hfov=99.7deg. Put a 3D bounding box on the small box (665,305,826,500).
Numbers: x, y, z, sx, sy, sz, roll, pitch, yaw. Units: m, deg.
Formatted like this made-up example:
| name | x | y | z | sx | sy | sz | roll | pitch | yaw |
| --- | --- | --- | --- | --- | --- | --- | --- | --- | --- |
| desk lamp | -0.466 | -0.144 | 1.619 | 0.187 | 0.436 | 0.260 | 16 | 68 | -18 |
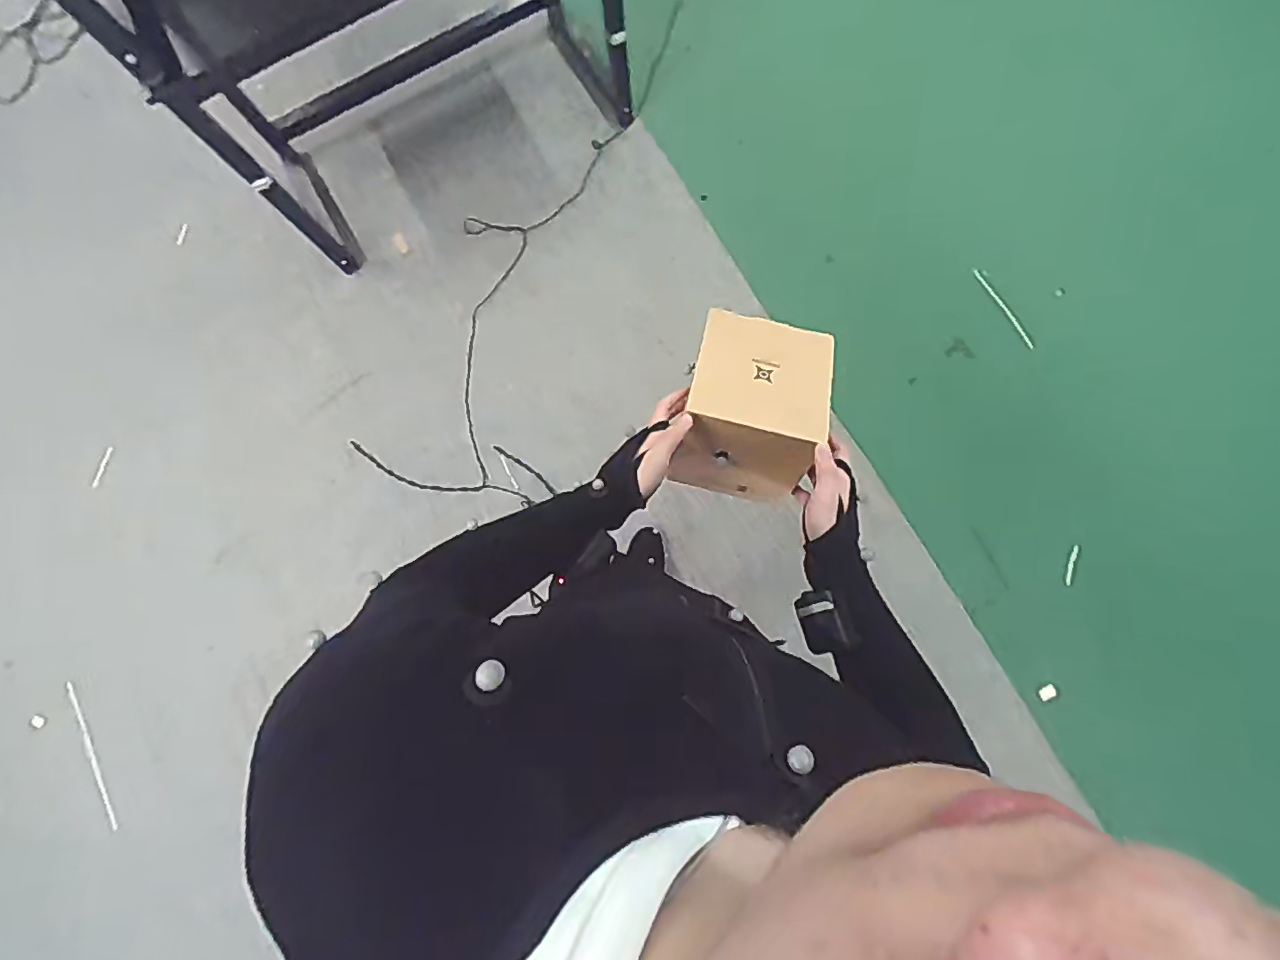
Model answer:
| name | x | y | z | sx | sy | sz | roll | pitch | yaw |
| --- | --- | --- | --- | --- | --- | --- | --- | --- | --- |
| small box | 0.132 | -0.095 | 0.716 | 0.168 | 0.176 | 0.179 | 13 | 60 | 2 |
